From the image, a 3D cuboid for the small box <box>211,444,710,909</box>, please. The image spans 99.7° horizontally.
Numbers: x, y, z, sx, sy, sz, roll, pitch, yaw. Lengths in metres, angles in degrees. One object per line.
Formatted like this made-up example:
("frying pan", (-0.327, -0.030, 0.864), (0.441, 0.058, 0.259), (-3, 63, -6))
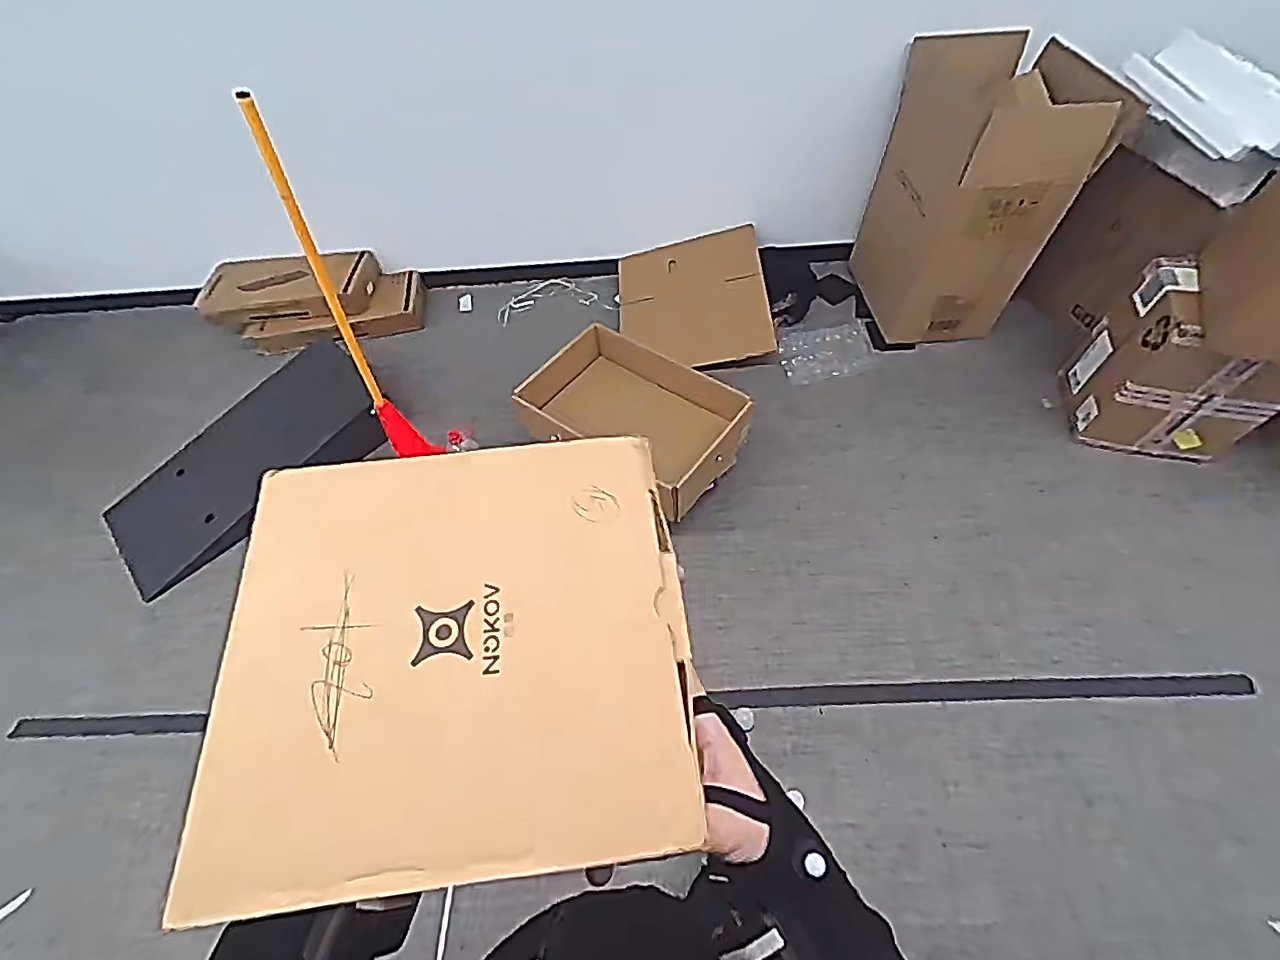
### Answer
("small box", (-0.071, 0.102, 0.295), (0.179, 0.176, 0.168), (-8, 61, -3))
